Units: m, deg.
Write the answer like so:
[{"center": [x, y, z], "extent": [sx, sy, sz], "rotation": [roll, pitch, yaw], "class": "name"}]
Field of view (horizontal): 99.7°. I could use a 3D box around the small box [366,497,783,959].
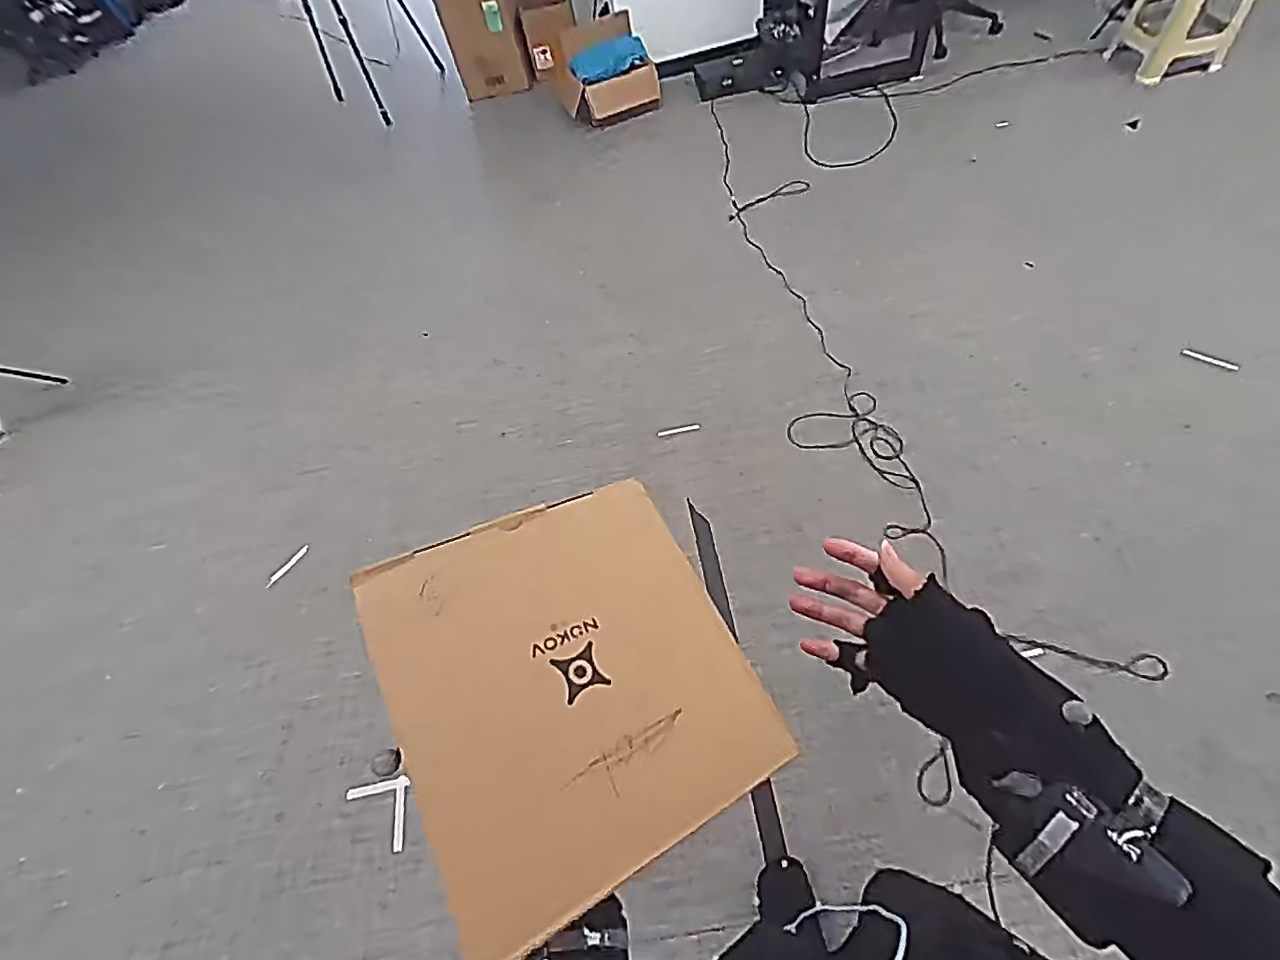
[{"center": [-0.053, 0.143, 0.340], "extent": [0.168, 0.176, 0.179], "rotation": [-19, 64, -26], "class": "small box"}]
